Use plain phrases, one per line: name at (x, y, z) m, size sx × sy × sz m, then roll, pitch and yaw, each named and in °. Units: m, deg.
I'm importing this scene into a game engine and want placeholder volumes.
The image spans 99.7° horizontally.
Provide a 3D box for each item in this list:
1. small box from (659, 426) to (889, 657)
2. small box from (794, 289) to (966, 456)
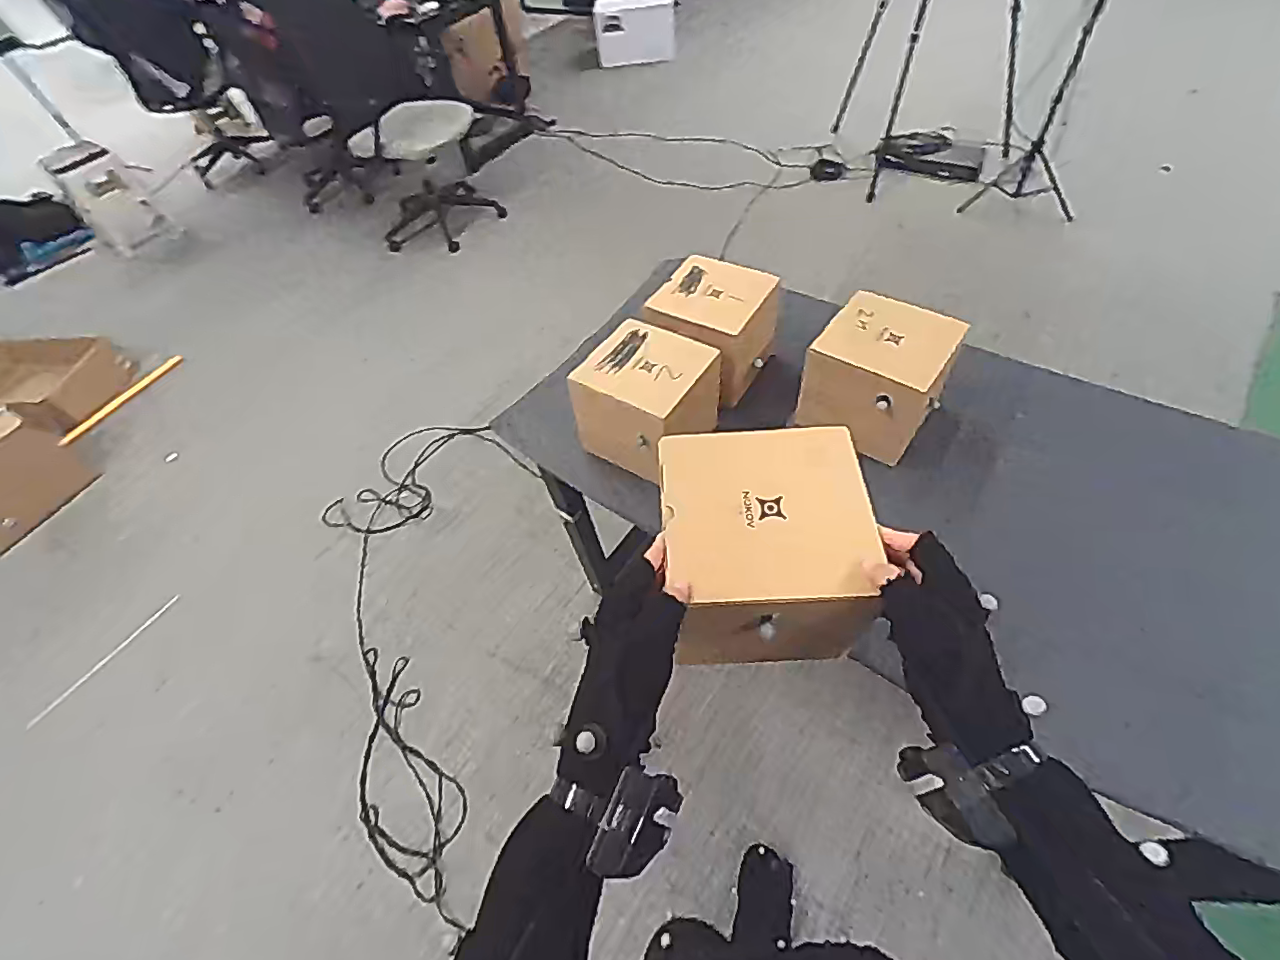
small box at (0.109, 0.066, 0.521) m, size 0.179 × 0.176 × 0.168 m, roll -3°, pitch 56°, yaw 4°
small box at (0.366, -0.163, 0.853) m, size 0.179 × 0.176 × 0.168 m, roll 30°, pitch 64°, yaw 26°
